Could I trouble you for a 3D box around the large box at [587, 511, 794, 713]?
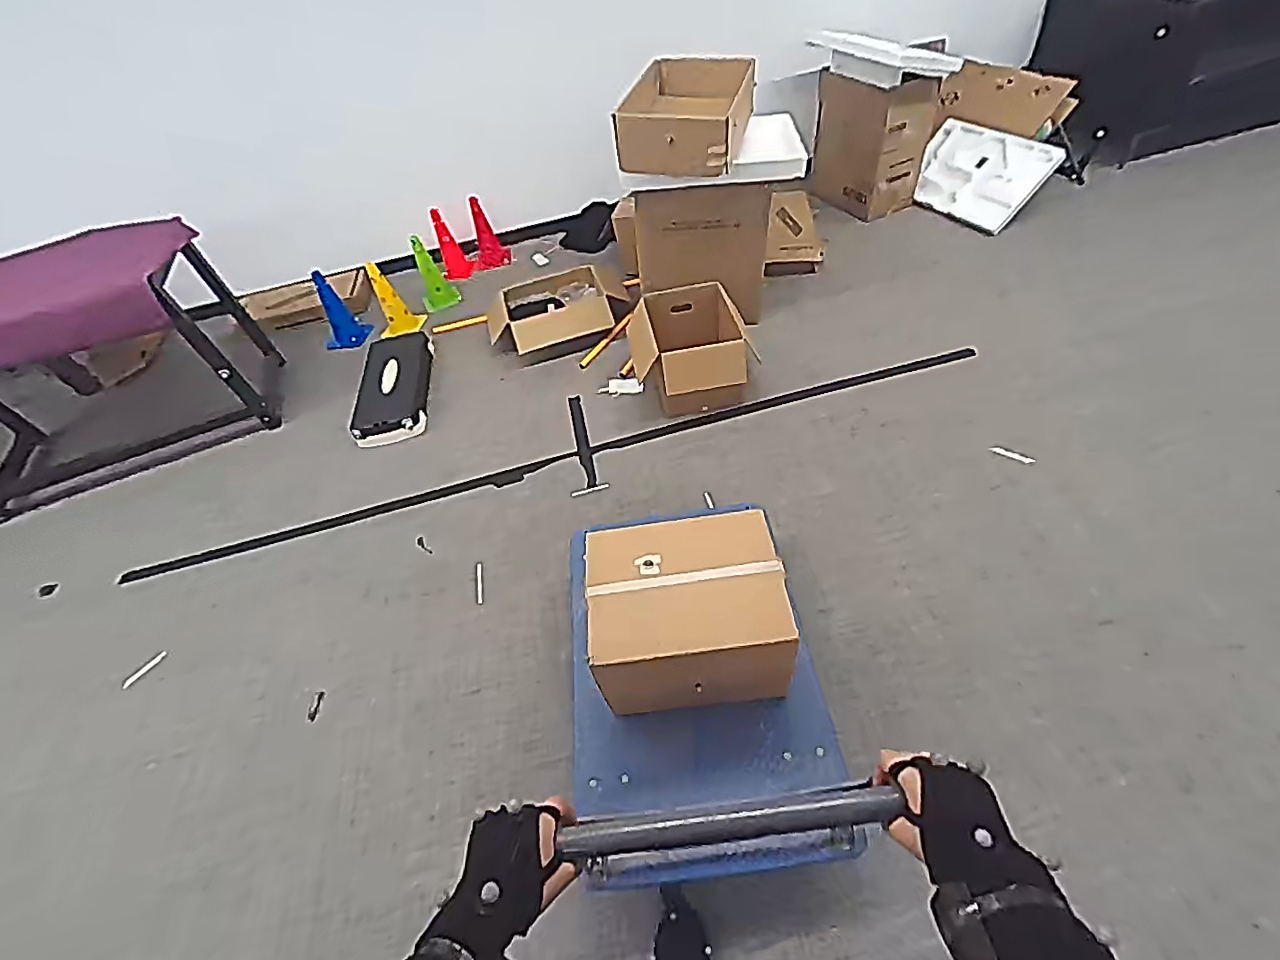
[{"bbox_3d":[0.110,0.311,1.248,0.408,0.320,0.320,-9,48,3],"label":"large box"}]
